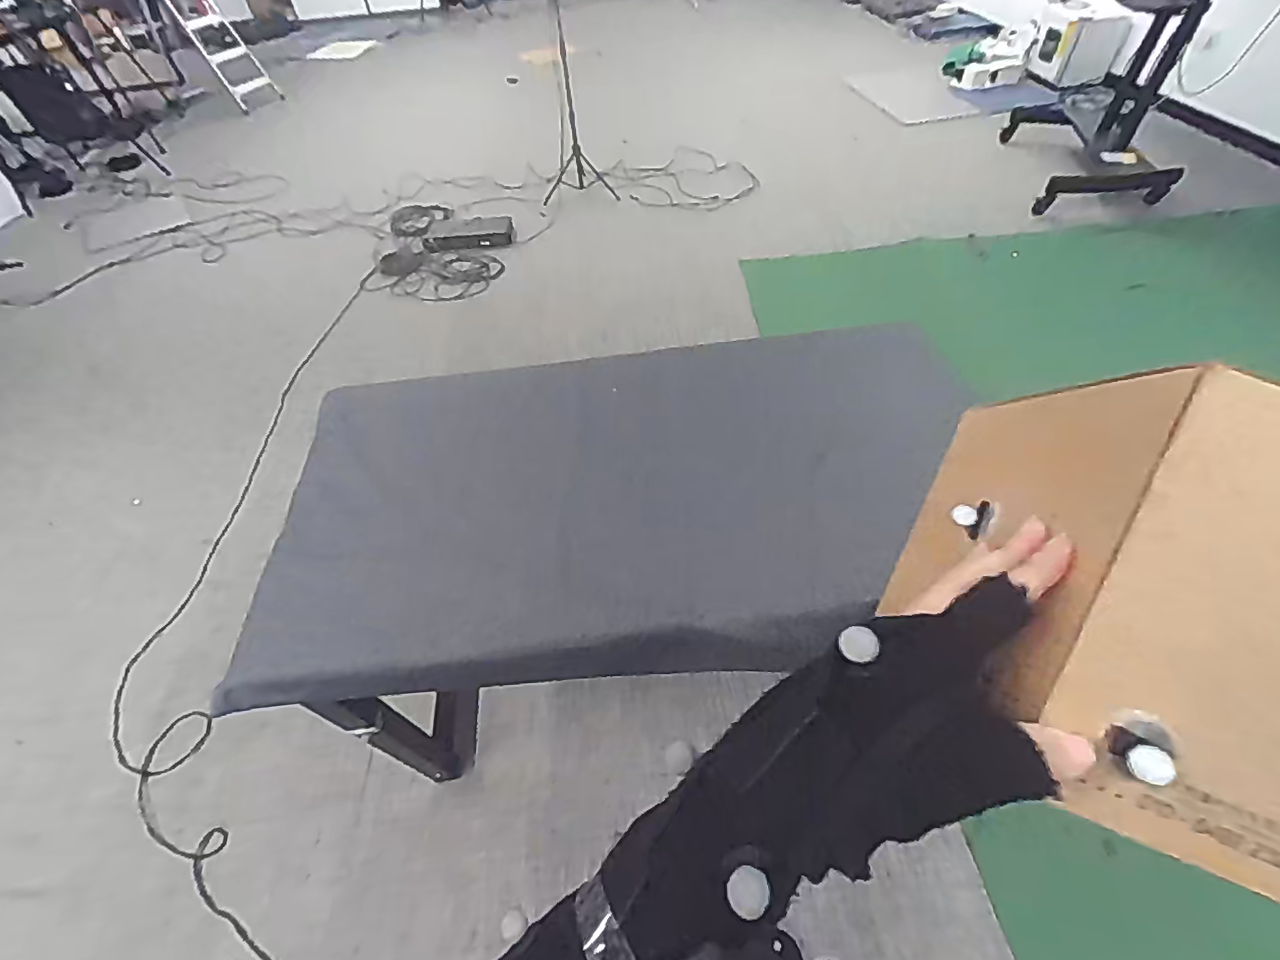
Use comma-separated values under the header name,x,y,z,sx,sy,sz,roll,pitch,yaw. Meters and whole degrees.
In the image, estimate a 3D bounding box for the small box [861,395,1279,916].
name,x,y,z,sx,sy,sz,roll,pitch,yaw
small box,0.245,0.072,0.280,0.168,0.179,0.176,23,94,5
